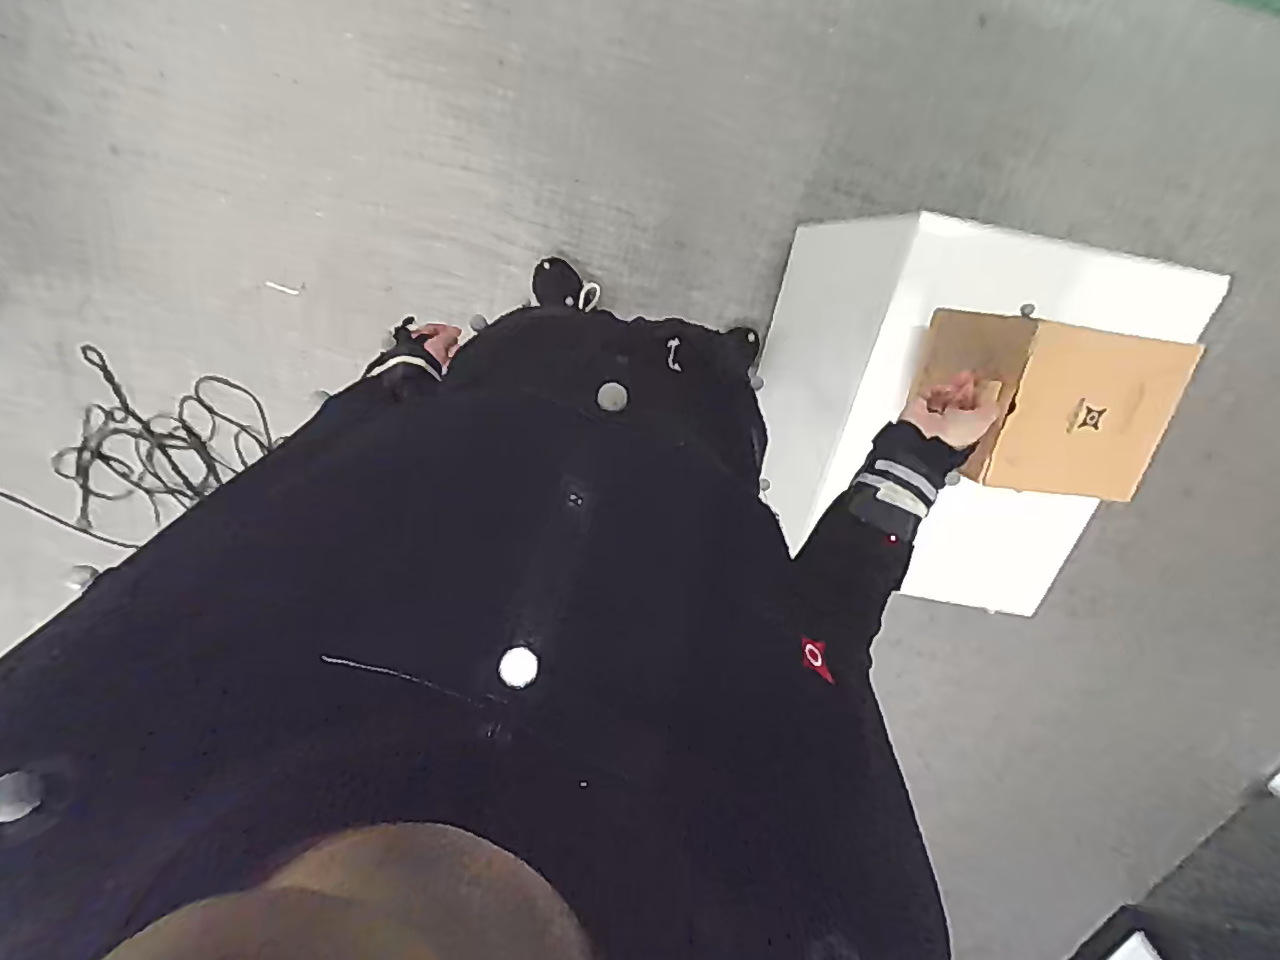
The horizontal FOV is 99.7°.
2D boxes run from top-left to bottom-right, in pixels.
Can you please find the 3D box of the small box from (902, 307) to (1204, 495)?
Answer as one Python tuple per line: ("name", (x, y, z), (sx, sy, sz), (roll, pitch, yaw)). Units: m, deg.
("small box", (0.427, -0.095, 0.598), (0.179, 0.176, 0.168), (4, 111, -8))
